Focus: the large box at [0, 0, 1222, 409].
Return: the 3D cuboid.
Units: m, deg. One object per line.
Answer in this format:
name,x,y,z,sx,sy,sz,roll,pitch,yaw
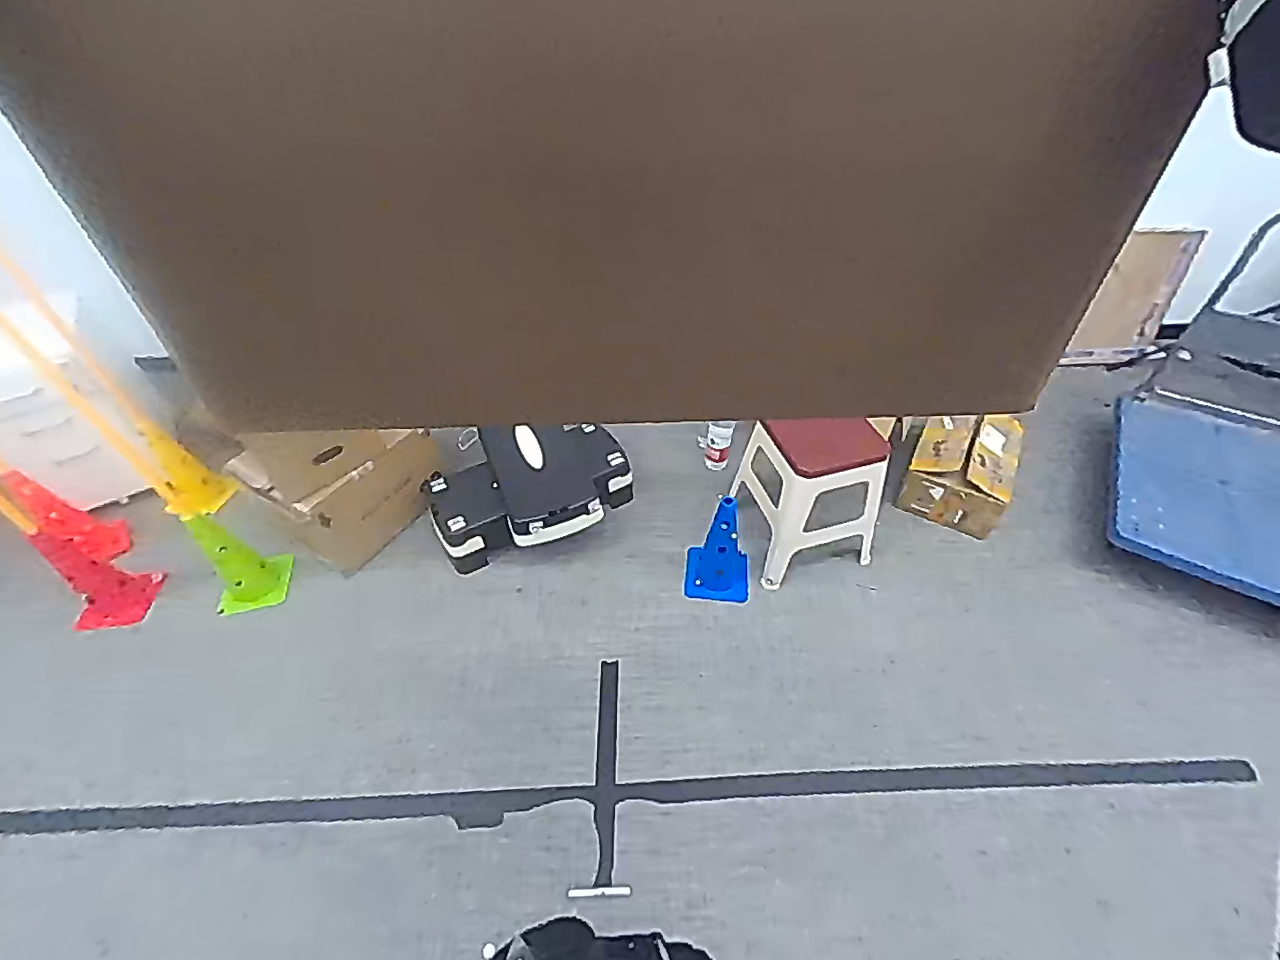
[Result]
large box,-0.010,-0.248,0.285,0.408,0.320,0.320,0,43,0
